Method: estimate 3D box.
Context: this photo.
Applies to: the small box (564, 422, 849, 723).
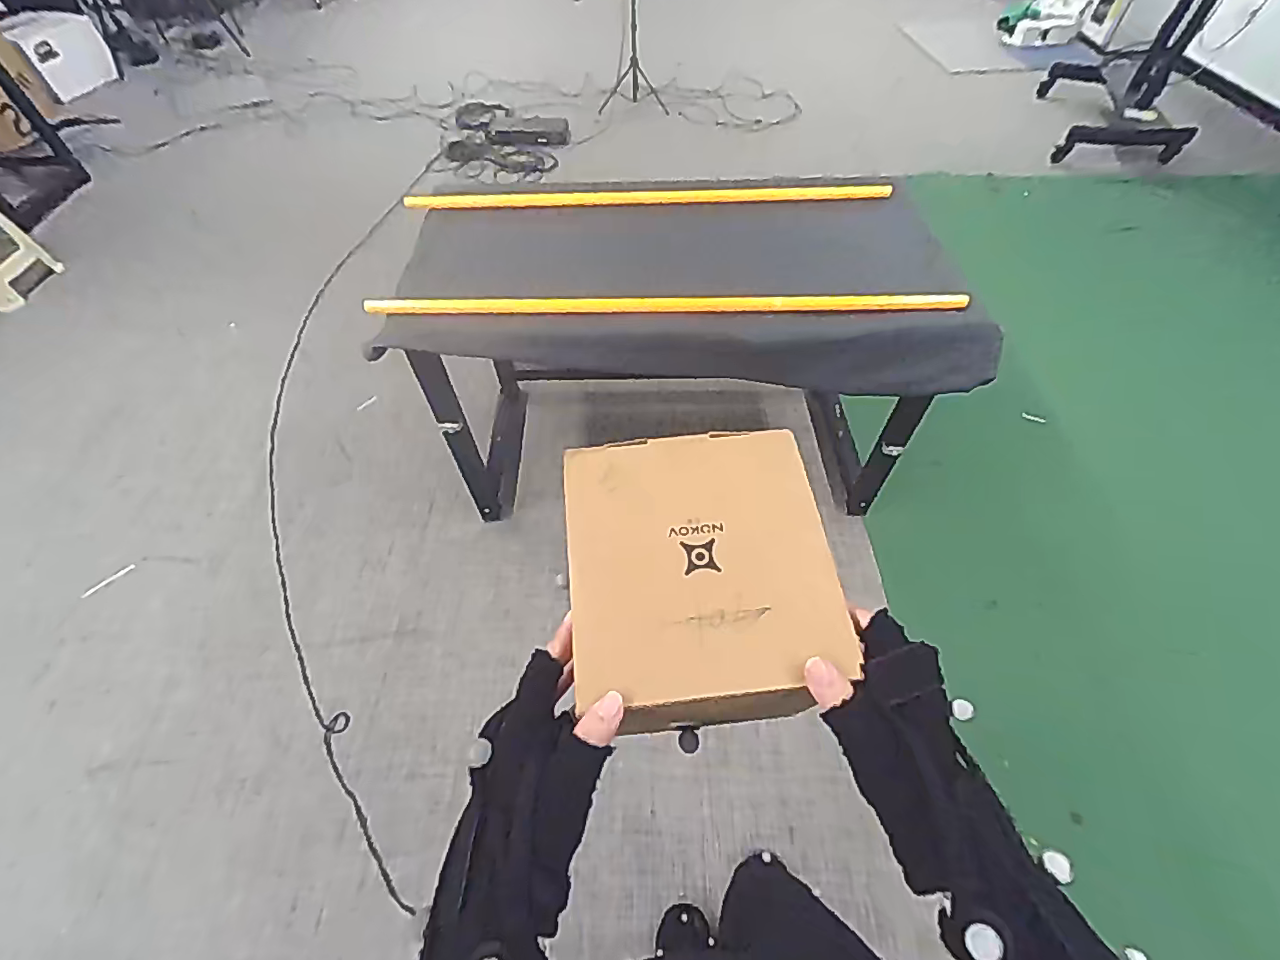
[{"bbox_3d":[0.032,0.077,0.418,0.168,0.176,0.179,-5,61,-3],"label":"small box"}]
